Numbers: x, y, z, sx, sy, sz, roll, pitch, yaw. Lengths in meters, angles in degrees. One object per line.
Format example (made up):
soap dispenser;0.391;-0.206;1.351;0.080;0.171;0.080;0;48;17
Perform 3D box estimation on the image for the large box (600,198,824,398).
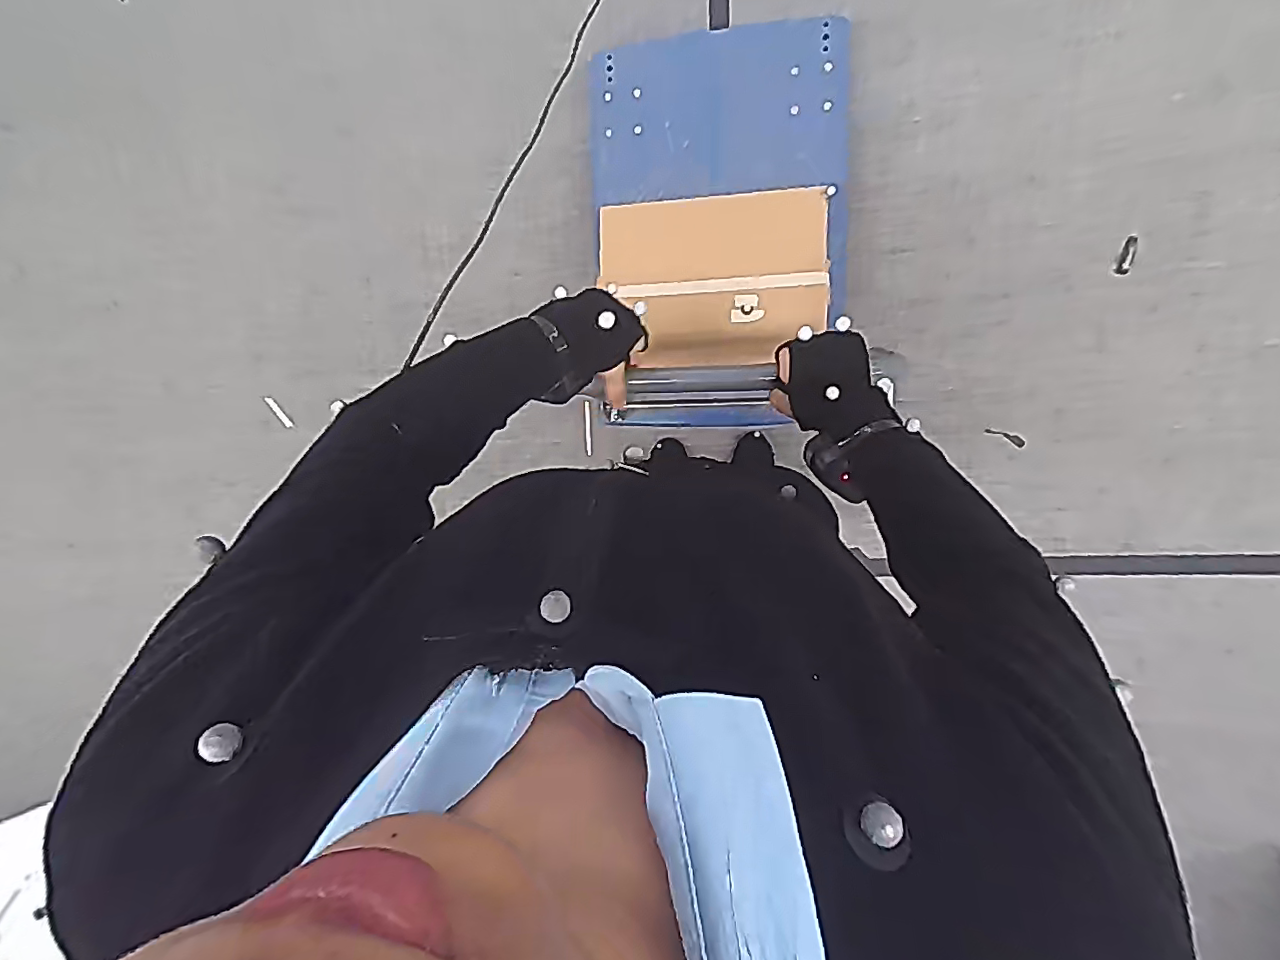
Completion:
large box;0.147;-0.342;1.120;0.408;0.320;0.320;0;95;10
